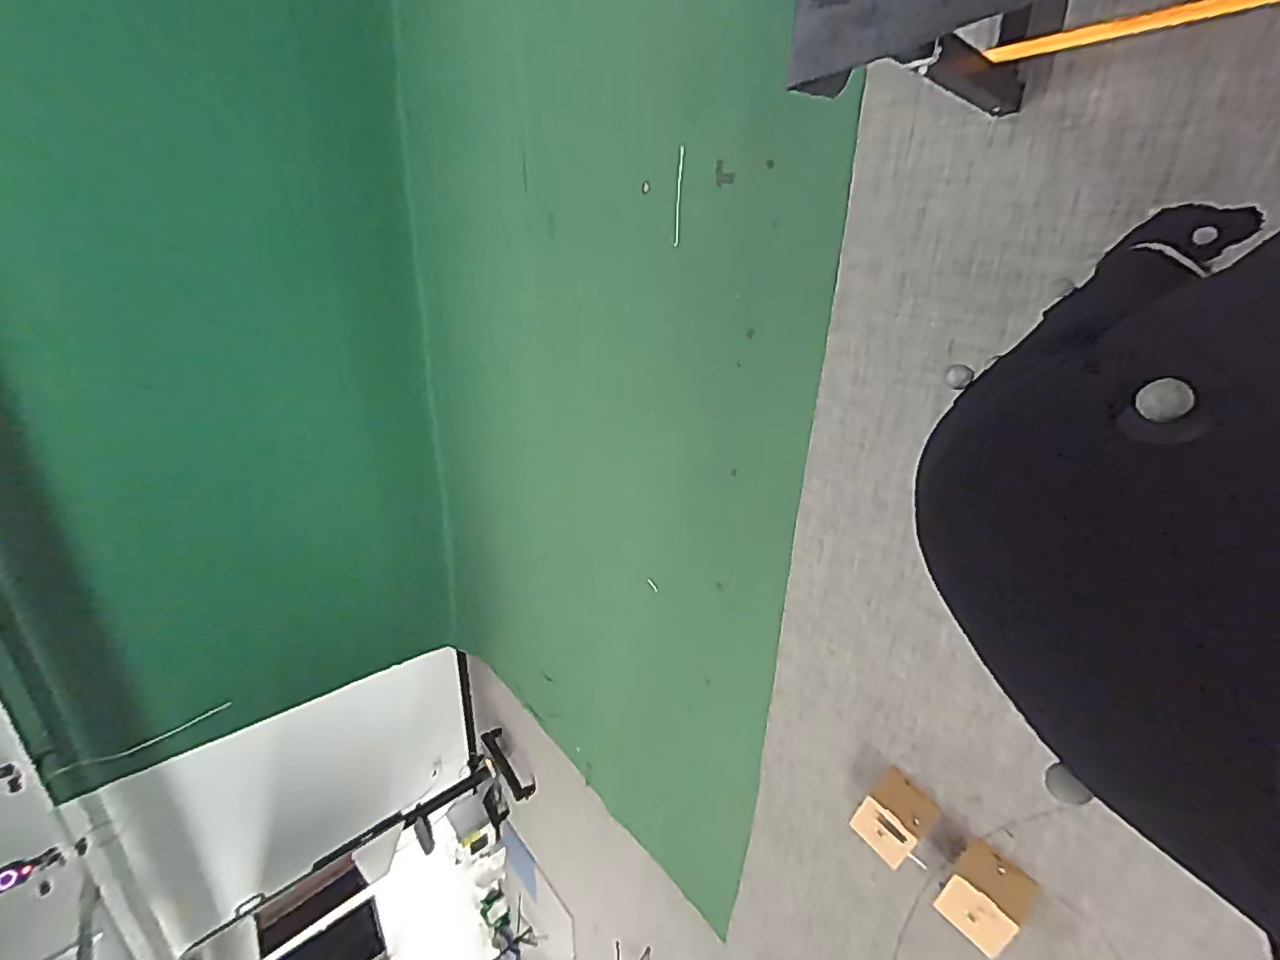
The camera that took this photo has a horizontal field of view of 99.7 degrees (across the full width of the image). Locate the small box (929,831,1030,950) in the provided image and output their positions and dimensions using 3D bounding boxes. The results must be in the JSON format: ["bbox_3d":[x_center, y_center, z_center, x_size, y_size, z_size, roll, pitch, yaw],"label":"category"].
[{"bbox_3d":[0.960,1.150,1.526,0.168,0.176,0.179,33,125,38],"label":"small box"}]
